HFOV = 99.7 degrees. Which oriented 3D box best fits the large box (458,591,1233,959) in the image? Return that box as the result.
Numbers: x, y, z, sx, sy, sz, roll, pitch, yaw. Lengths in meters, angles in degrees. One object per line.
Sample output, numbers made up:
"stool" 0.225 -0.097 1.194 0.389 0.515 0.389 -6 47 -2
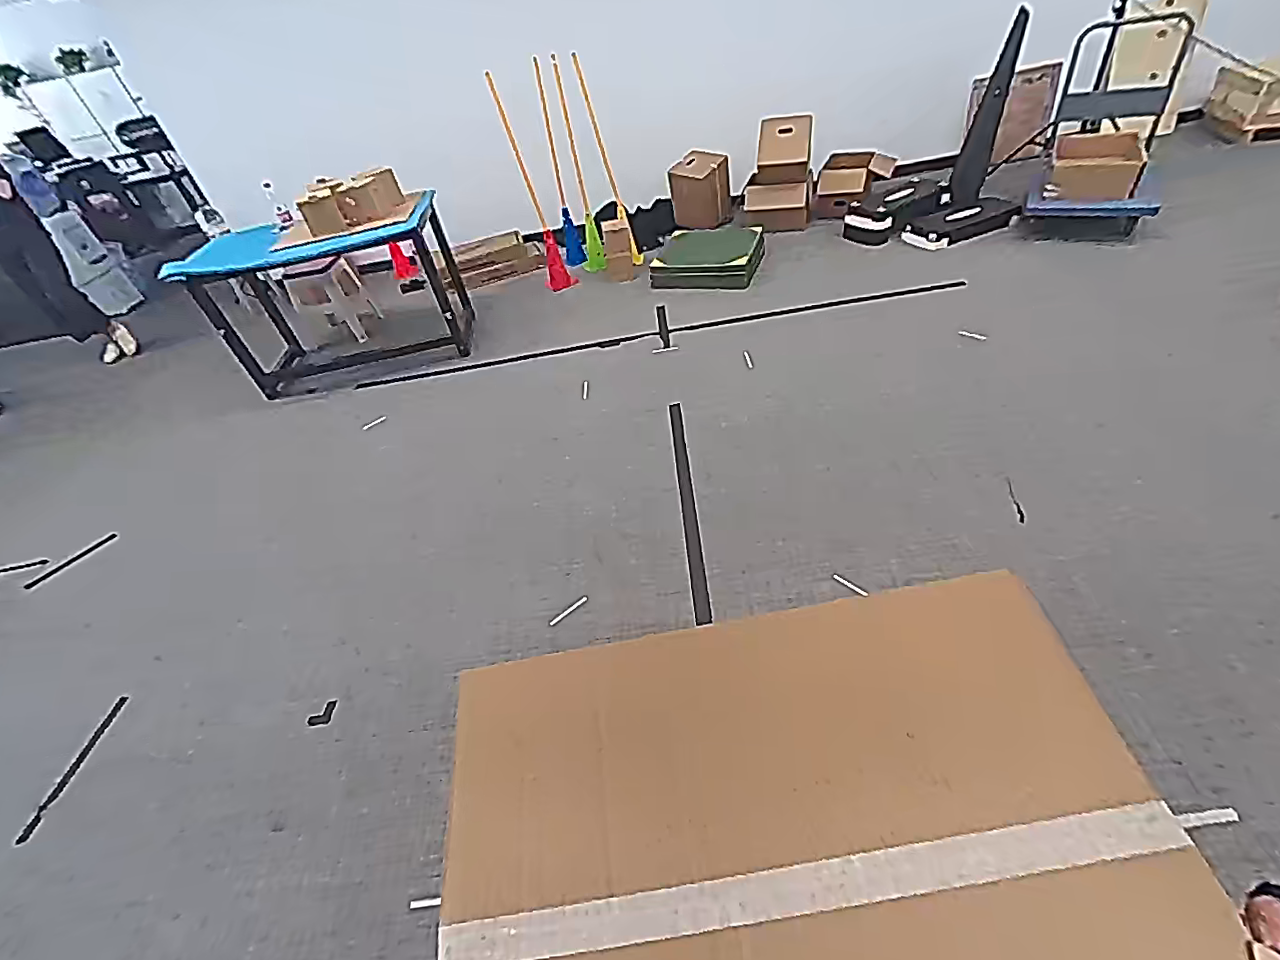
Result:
"large box" 0.114 0.326 0.416 0.408 0.320 0.320 -12 50 2
